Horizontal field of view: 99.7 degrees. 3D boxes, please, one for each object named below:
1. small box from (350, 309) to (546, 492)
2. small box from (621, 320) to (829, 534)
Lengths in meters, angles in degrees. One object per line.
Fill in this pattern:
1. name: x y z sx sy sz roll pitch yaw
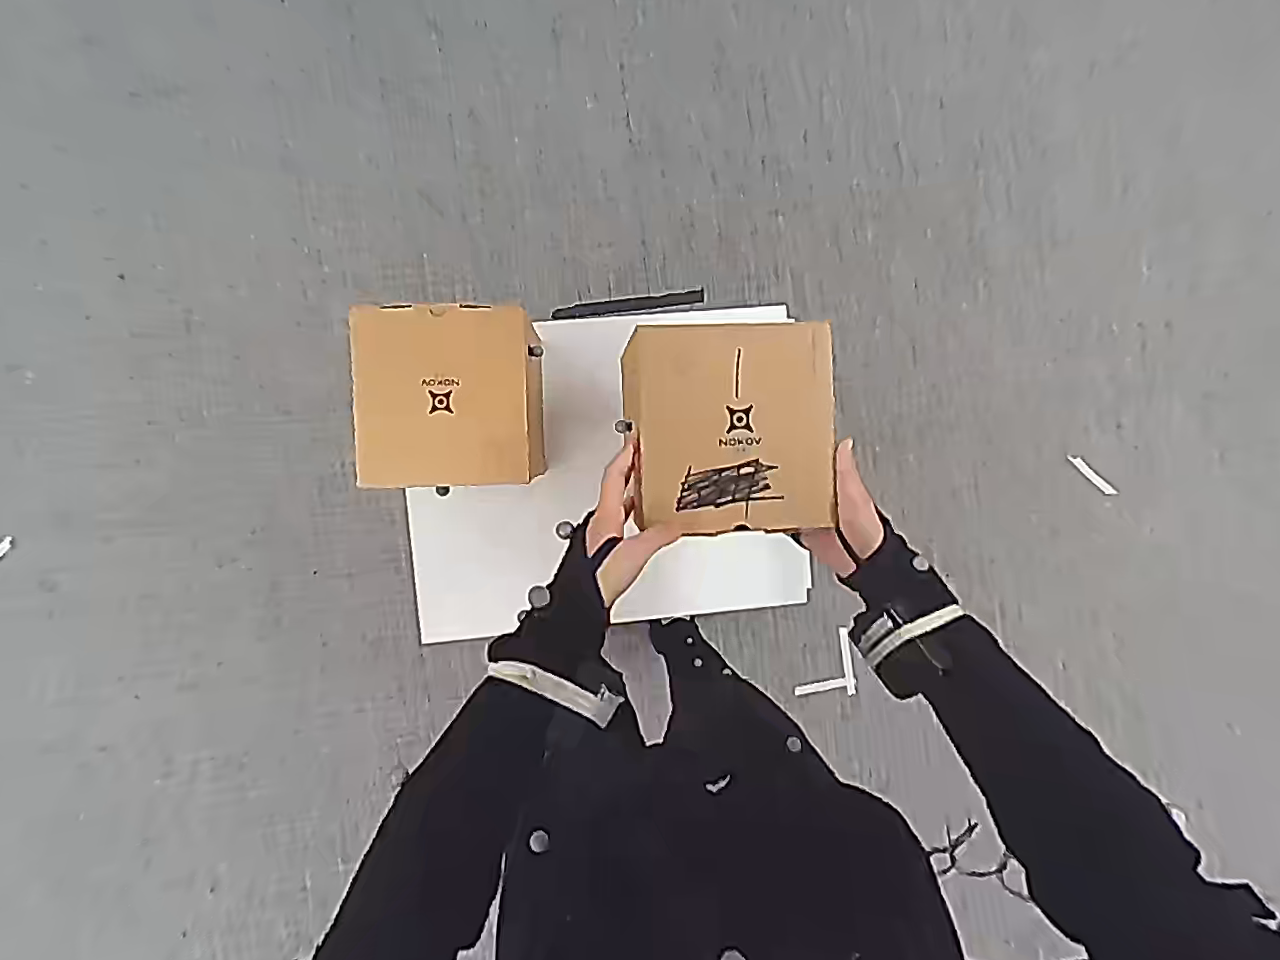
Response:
1. small box: -0.197 -0.082 0.600 0.168 0.176 0.179 -2 93 -5
2. small box: 0.070 -0.051 0.529 0.168 0.176 0.179 -3 94 -7
